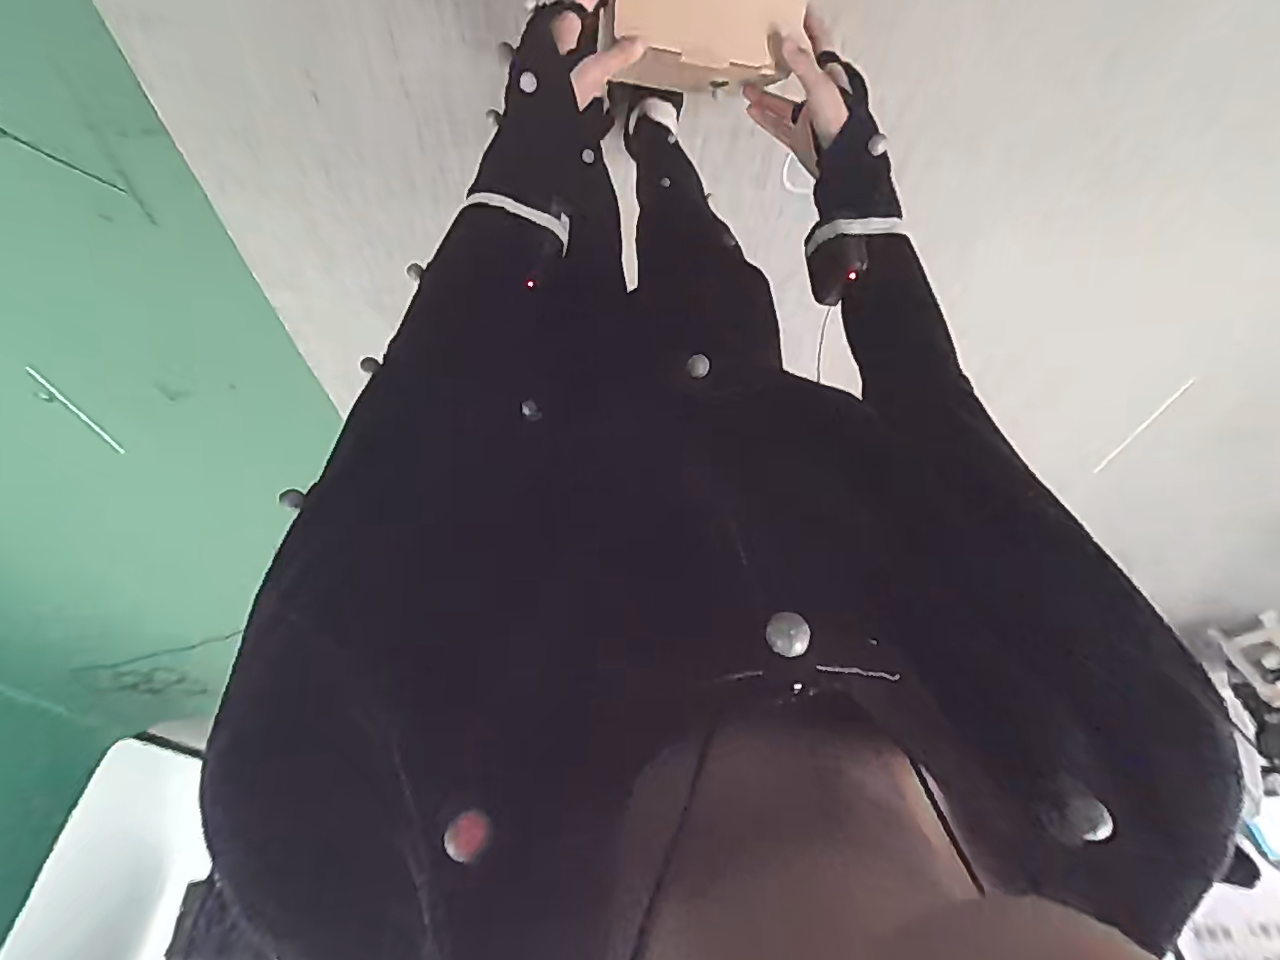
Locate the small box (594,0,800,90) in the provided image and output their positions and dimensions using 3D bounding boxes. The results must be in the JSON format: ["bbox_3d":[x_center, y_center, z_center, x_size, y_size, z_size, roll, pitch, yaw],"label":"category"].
[{"bbox_3d":[0.050,-0.481,0.494,0.168,0.176,0.179,2,118,-11],"label":"small box"}]
